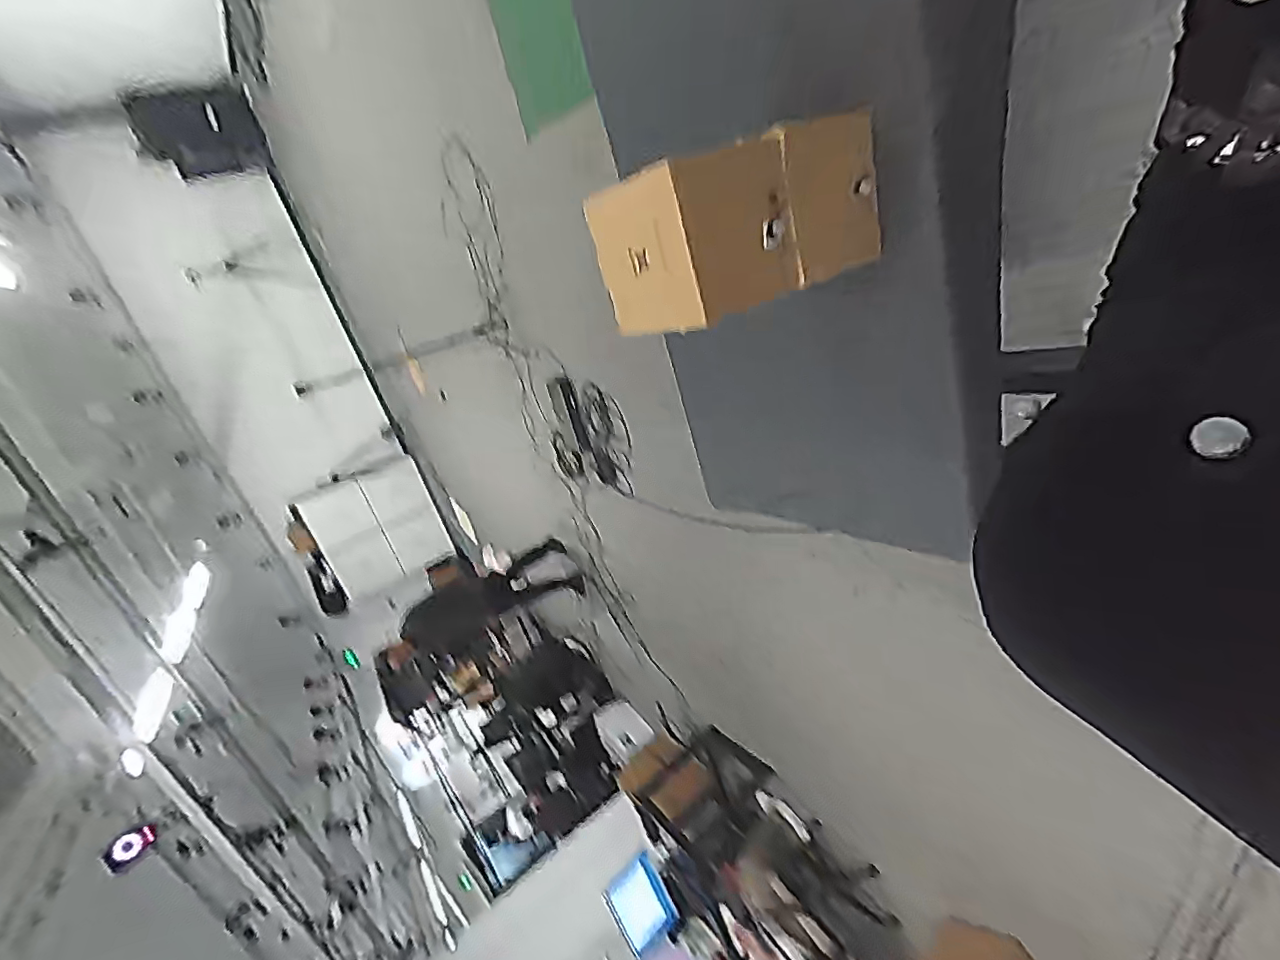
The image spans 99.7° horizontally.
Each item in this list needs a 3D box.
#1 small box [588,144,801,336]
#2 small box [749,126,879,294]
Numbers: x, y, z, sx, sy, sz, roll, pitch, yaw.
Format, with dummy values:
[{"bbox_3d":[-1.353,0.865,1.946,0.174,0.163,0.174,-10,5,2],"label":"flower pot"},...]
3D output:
[{"bbox_3d":[0.068,-0.288,0.668,0.179,0.176,0.168,13,128,54],"label":"small box"},{"bbox_3d":[0.200,-0.357,0.734,0.168,0.176,0.179,16,128,54],"label":"small box"}]
